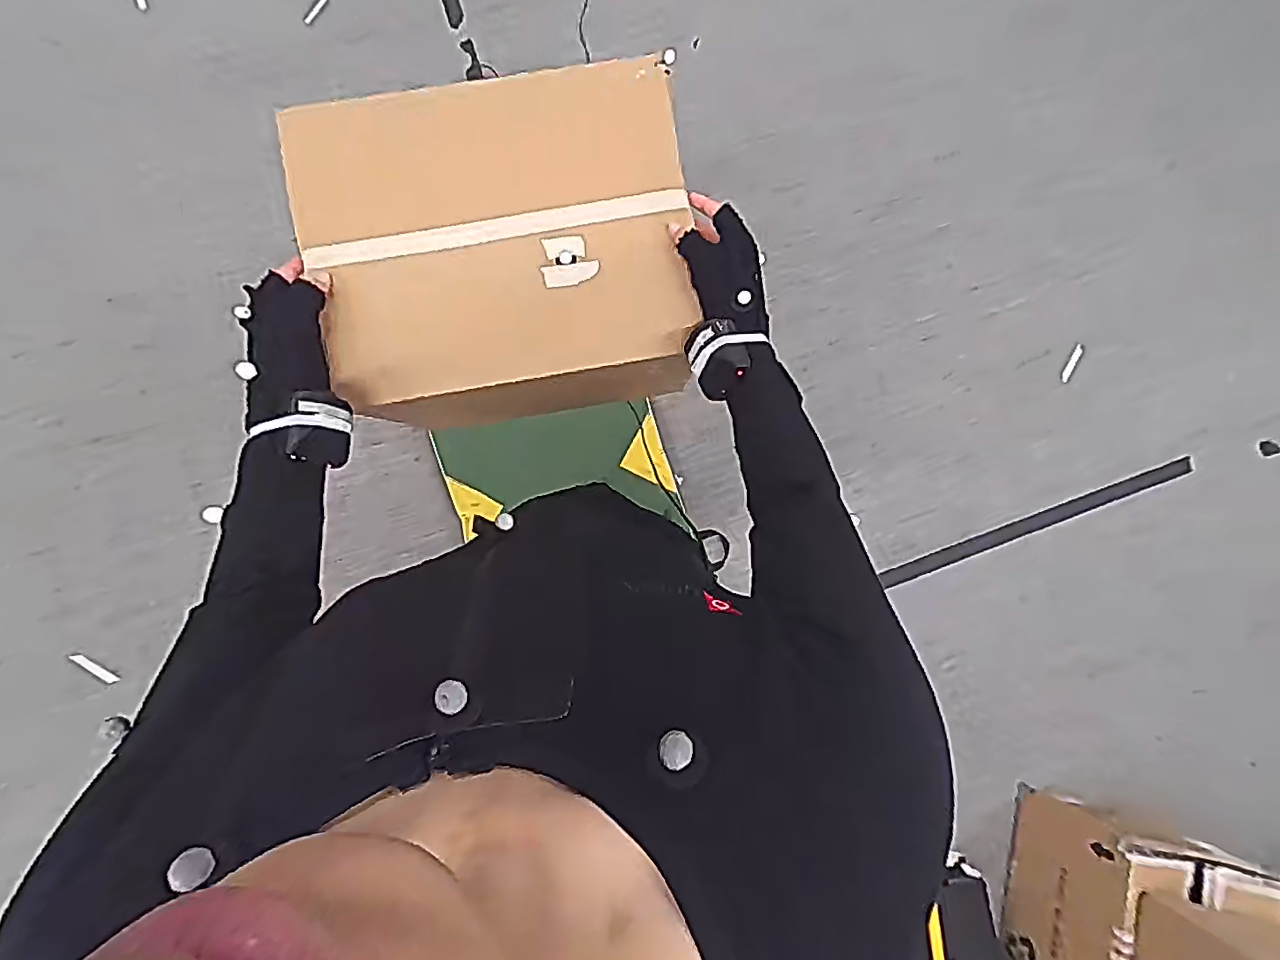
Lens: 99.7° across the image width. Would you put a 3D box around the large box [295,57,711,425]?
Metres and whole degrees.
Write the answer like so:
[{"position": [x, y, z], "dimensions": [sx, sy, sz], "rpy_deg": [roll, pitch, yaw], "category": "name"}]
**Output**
[{"position": [-0.151, -0.272, 0.728], "dimensions": [0.408, 0.320, 0.320], "rpy_deg": [-10, 92, -3], "category": "large box"}]
